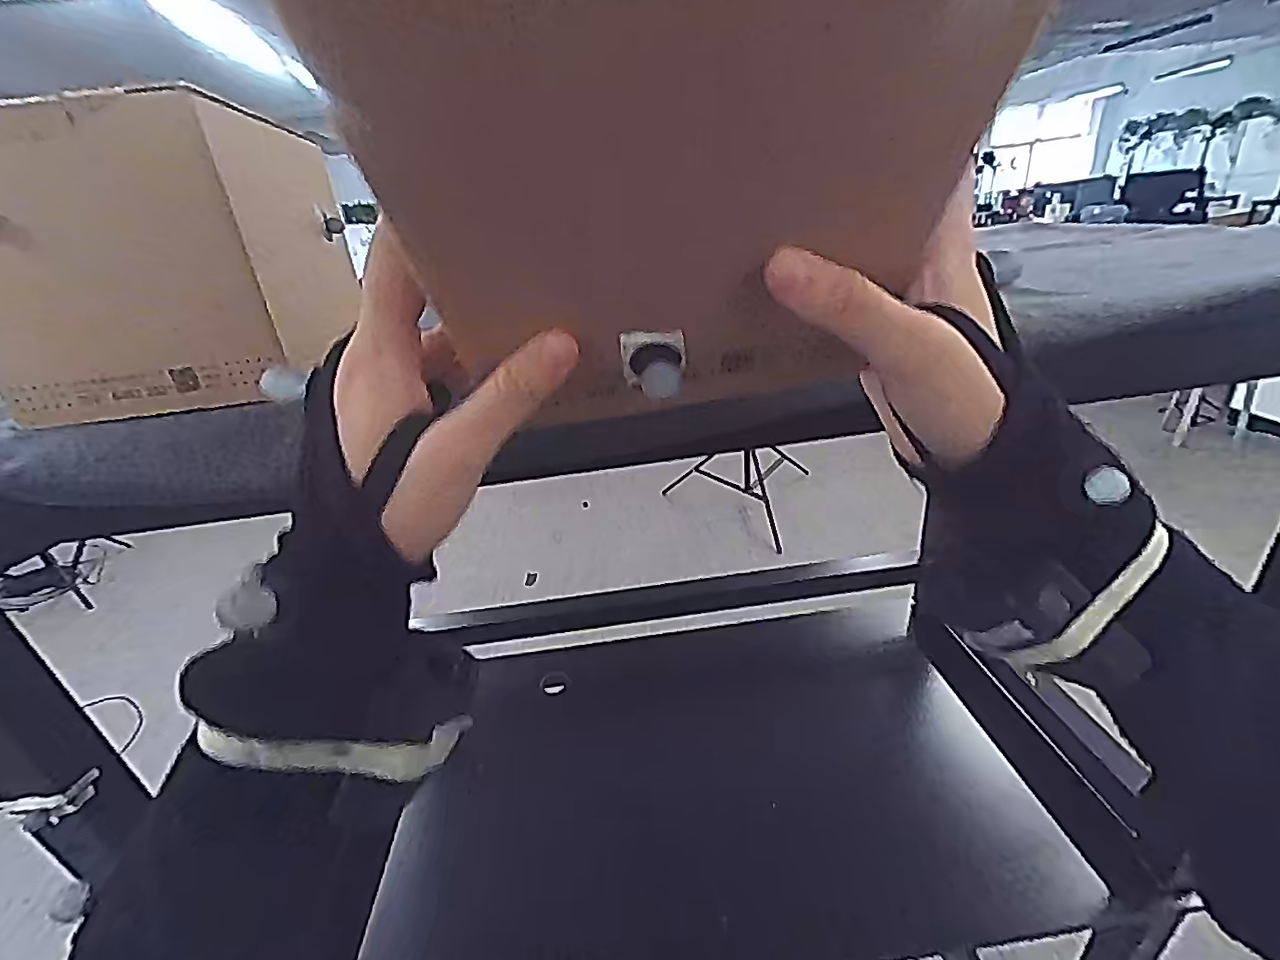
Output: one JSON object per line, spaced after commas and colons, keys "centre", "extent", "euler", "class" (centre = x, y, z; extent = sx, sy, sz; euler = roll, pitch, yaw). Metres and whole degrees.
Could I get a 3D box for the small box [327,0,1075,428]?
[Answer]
{"centre": [0.007, -0.145, 0.206], "extent": [0.168, 0.176, 0.179], "euler": [-11, 64, -2], "class": "small box"}
